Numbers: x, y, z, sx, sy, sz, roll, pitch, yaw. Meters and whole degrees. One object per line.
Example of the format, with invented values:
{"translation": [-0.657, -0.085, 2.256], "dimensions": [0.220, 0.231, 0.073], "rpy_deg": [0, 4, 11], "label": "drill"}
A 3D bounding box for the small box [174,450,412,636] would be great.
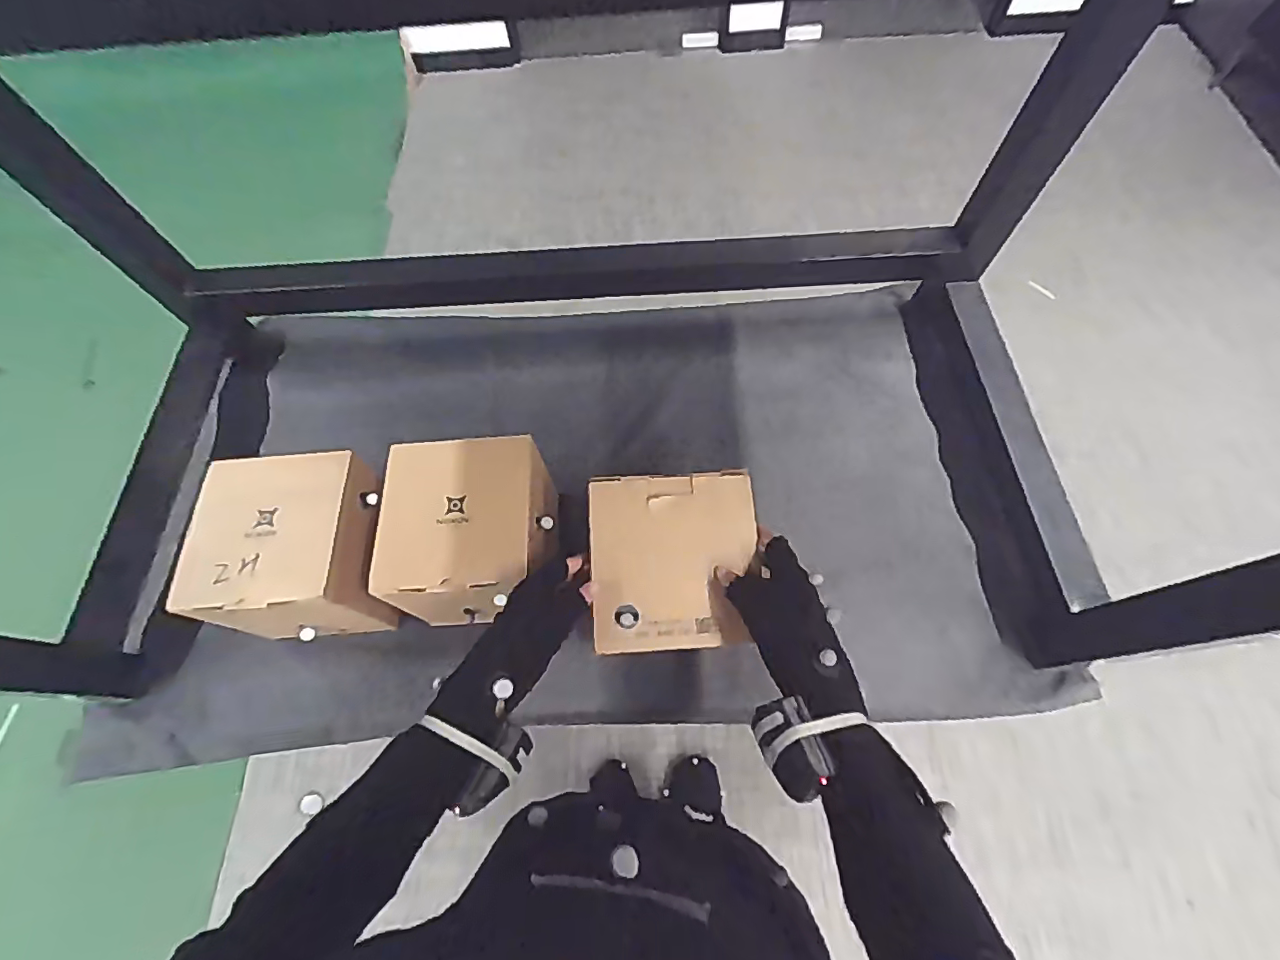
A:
{"translation": [-0.398, 0.083, 0.660], "dimensions": [0.168, 0.176, 0.179], "rpy_deg": [-4, 64, 1], "label": "small box"}

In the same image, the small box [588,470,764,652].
{"translation": [0.033, 0.098, 0.605], "dimensions": [0.168, 0.179, 0.176], "rpy_deg": [-3, 73, -2], "label": "small box"}
